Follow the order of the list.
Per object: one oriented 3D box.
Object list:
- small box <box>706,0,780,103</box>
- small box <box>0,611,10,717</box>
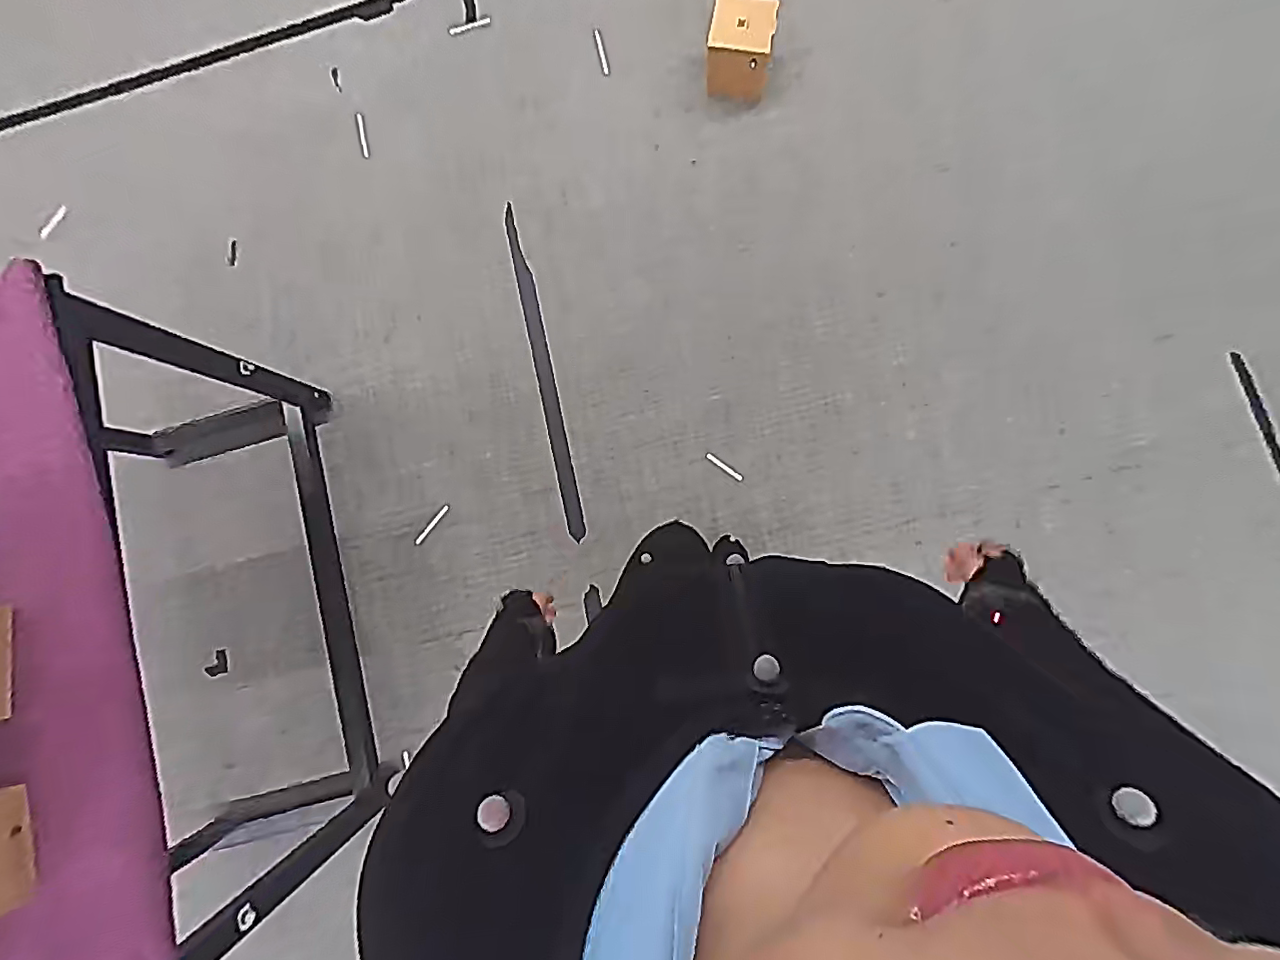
[{"bbox_3d":[0.291,-1.236,1.567,0.179,0.176,0.168,11,84,5],"label":"small box"},{"bbox_3d":[-1.072,0.287,0.771,0.168,0.176,0.179,-7,83,4],"label":"small box"}]
